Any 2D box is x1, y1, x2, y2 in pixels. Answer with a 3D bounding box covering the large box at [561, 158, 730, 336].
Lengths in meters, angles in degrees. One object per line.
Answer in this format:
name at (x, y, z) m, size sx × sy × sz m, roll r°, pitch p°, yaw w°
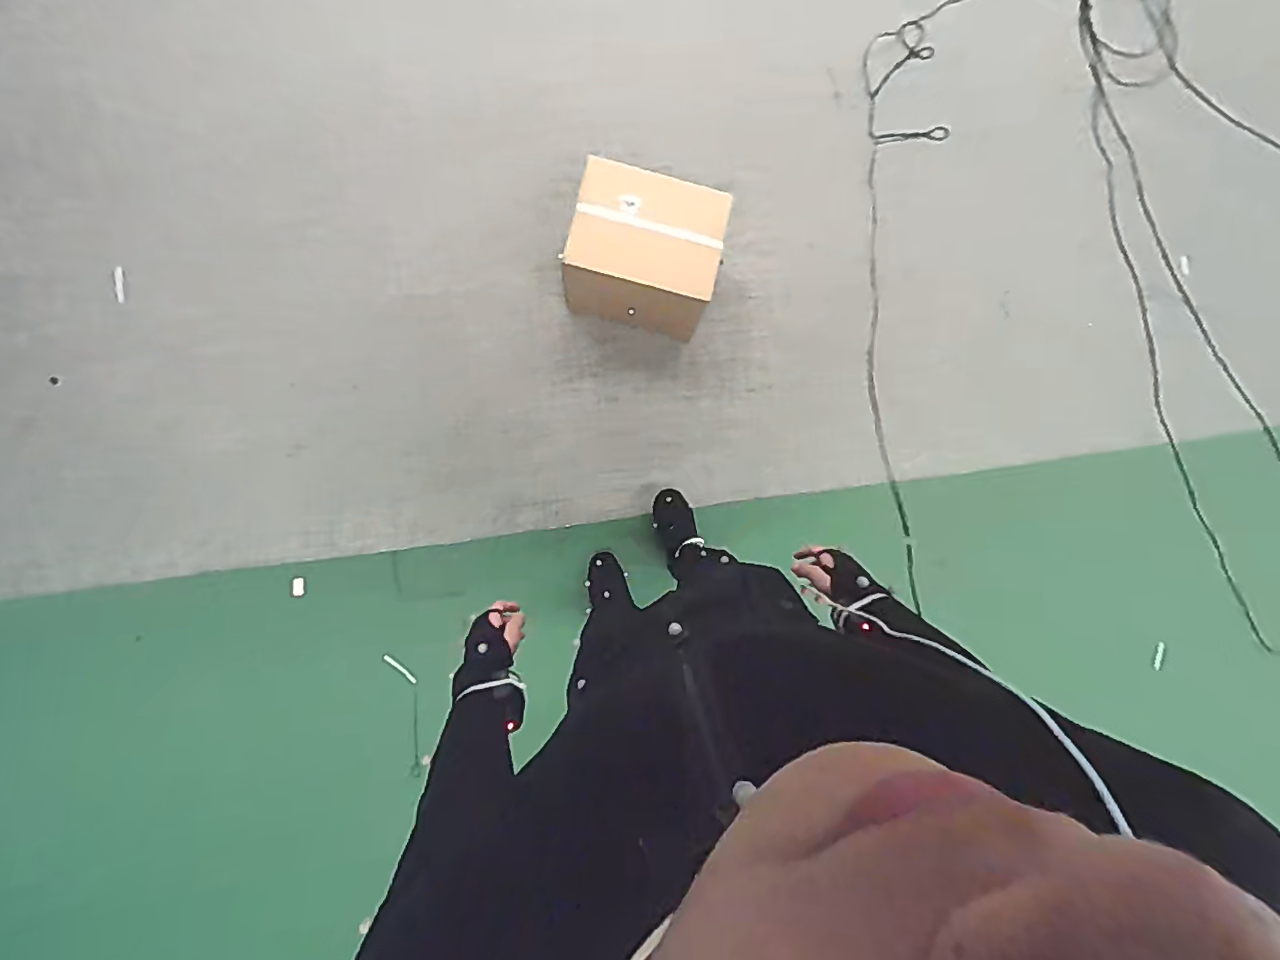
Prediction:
large box at (0.011, -0.653, 1.576) m, size 0.408 × 0.320 × 0.320 m, roll 14°, pitch 83°, yaw -2°
